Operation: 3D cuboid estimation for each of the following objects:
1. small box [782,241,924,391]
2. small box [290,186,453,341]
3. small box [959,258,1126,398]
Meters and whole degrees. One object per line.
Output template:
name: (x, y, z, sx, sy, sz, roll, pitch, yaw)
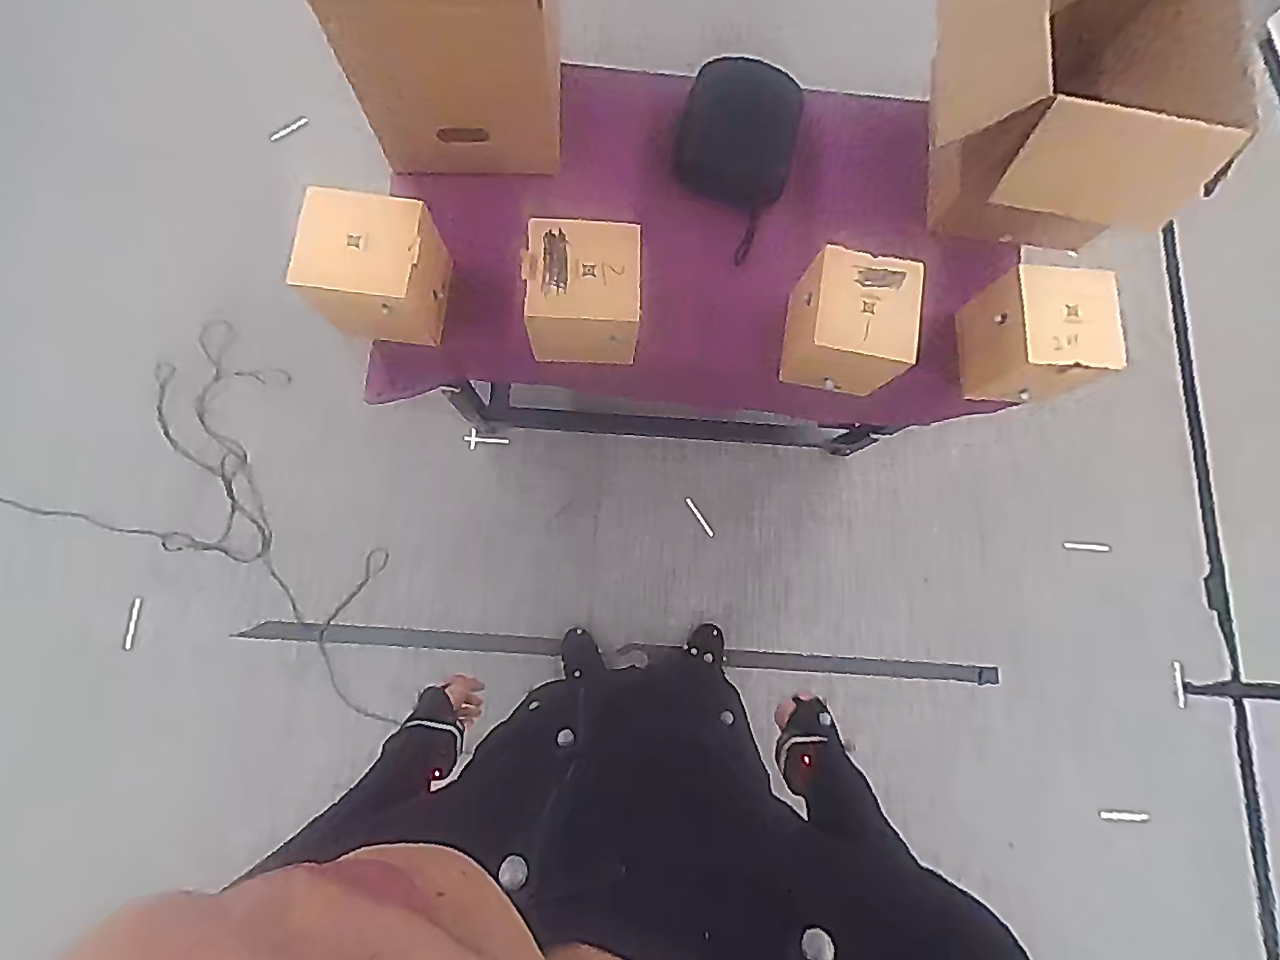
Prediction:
small box: (0.355, -0.271, 0.927, 0.168, 0.176, 0.179, 10, 81, -2)
small box: (-0.424, -0.343, 0.884, 0.179, 0.176, 0.168, 5, 80, -4)
small box: (0.688, -0.257, 0.946, 0.168, 0.176, 0.179, 3, 80, -2)
